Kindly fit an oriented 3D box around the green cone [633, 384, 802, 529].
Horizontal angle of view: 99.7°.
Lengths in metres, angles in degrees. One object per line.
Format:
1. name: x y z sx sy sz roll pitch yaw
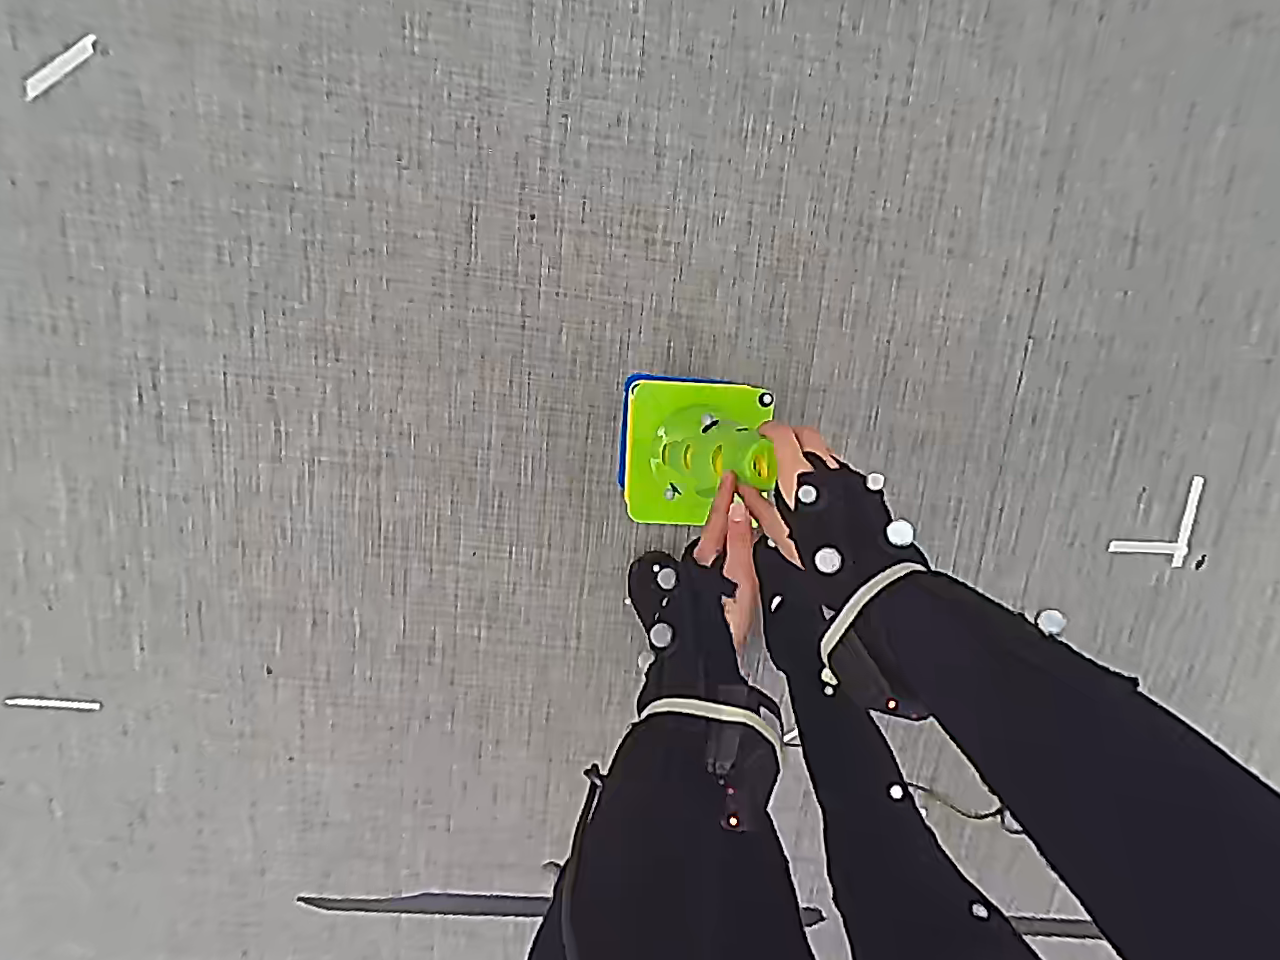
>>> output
1. green cone: 0.096 -0.019 0.590 0.200 0.368 0.202 2 94 -1
